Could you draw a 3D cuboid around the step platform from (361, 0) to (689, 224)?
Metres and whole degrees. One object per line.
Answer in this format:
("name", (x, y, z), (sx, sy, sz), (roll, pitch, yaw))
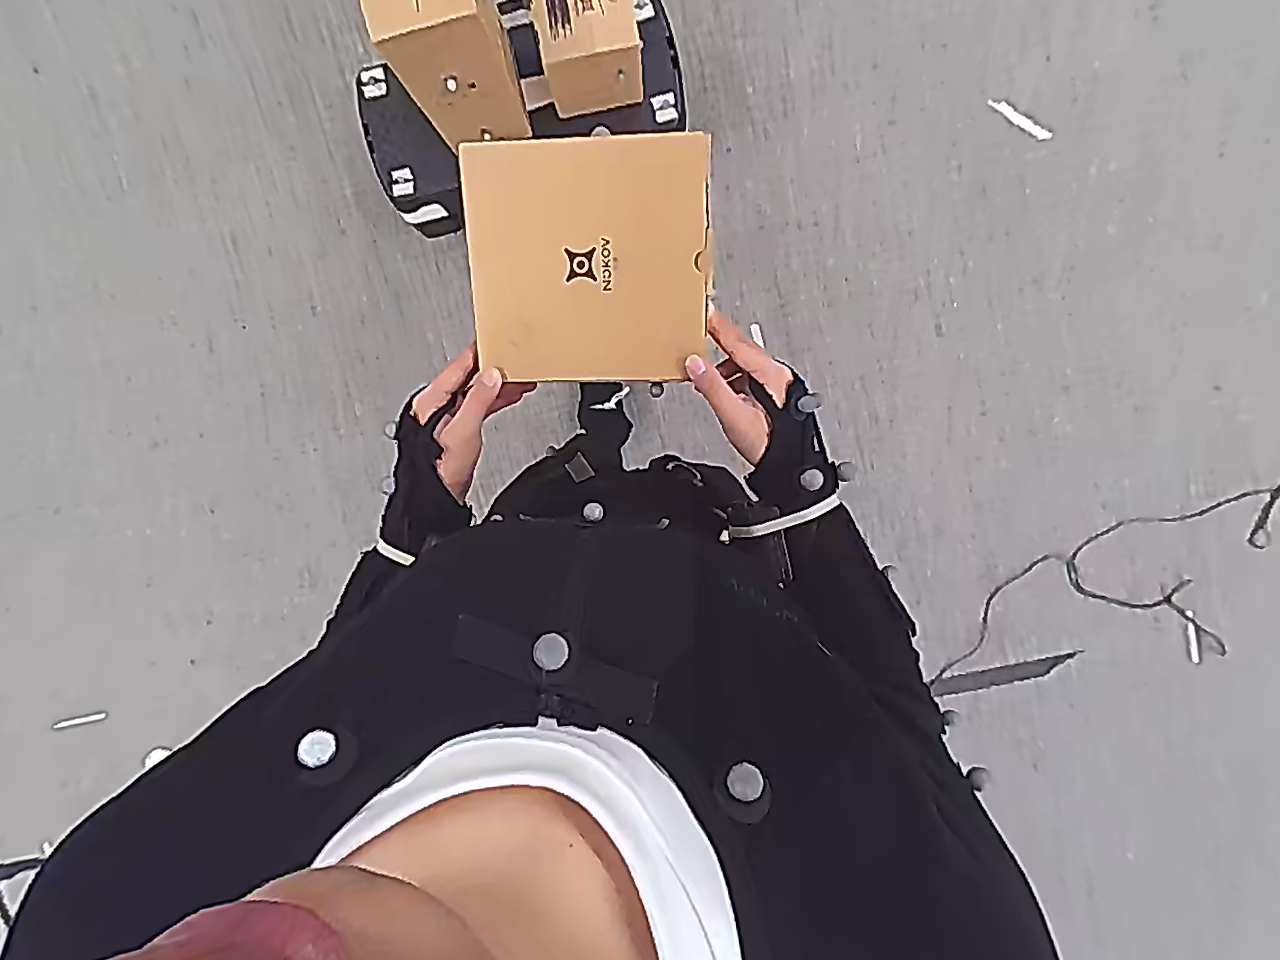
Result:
("step platform", (-0.239, -0.812, 1.188), (0.684, 0.204, 0.286), (-14, 95, 4))

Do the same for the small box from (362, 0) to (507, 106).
("small box", (-0.327, -0.744, 0.857), (0.168, 0.176, 0.179), (-12, 96, 3))

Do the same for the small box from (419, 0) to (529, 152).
("small box", (-0.320, -0.758, 1.021), (0.168, 0.176, 0.179), (-12, 95, 3))

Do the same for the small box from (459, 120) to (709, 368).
("small box", (-0.033, -0.182, 0.465), (0.179, 0.176, 0.168), (0, 104, 4))
